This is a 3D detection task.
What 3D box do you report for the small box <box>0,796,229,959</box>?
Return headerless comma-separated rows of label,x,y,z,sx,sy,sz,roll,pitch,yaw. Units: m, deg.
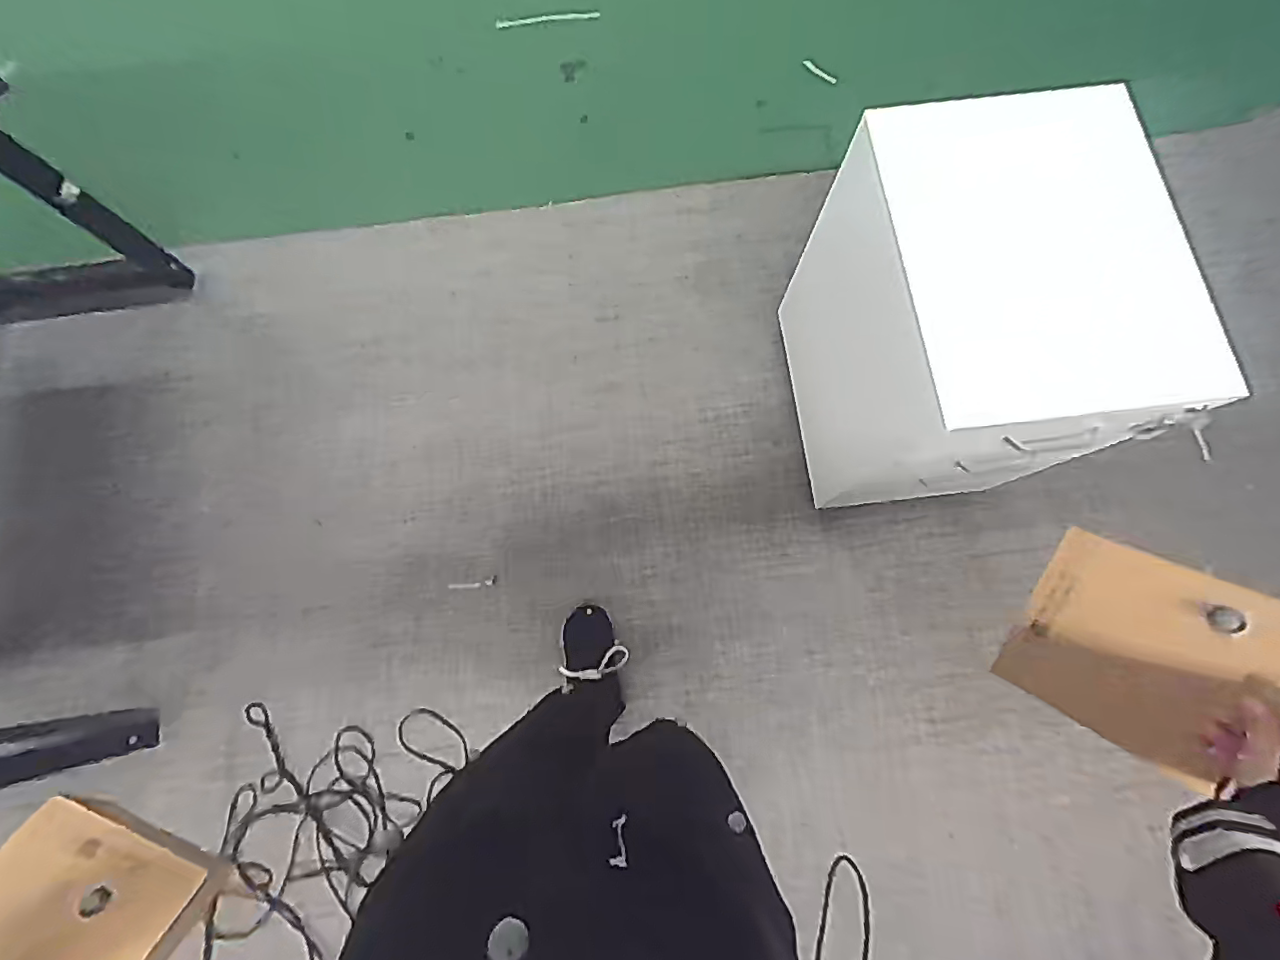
small box,-0.552,0.441,0.535,0.168,0.179,0.176,33,48,-5
